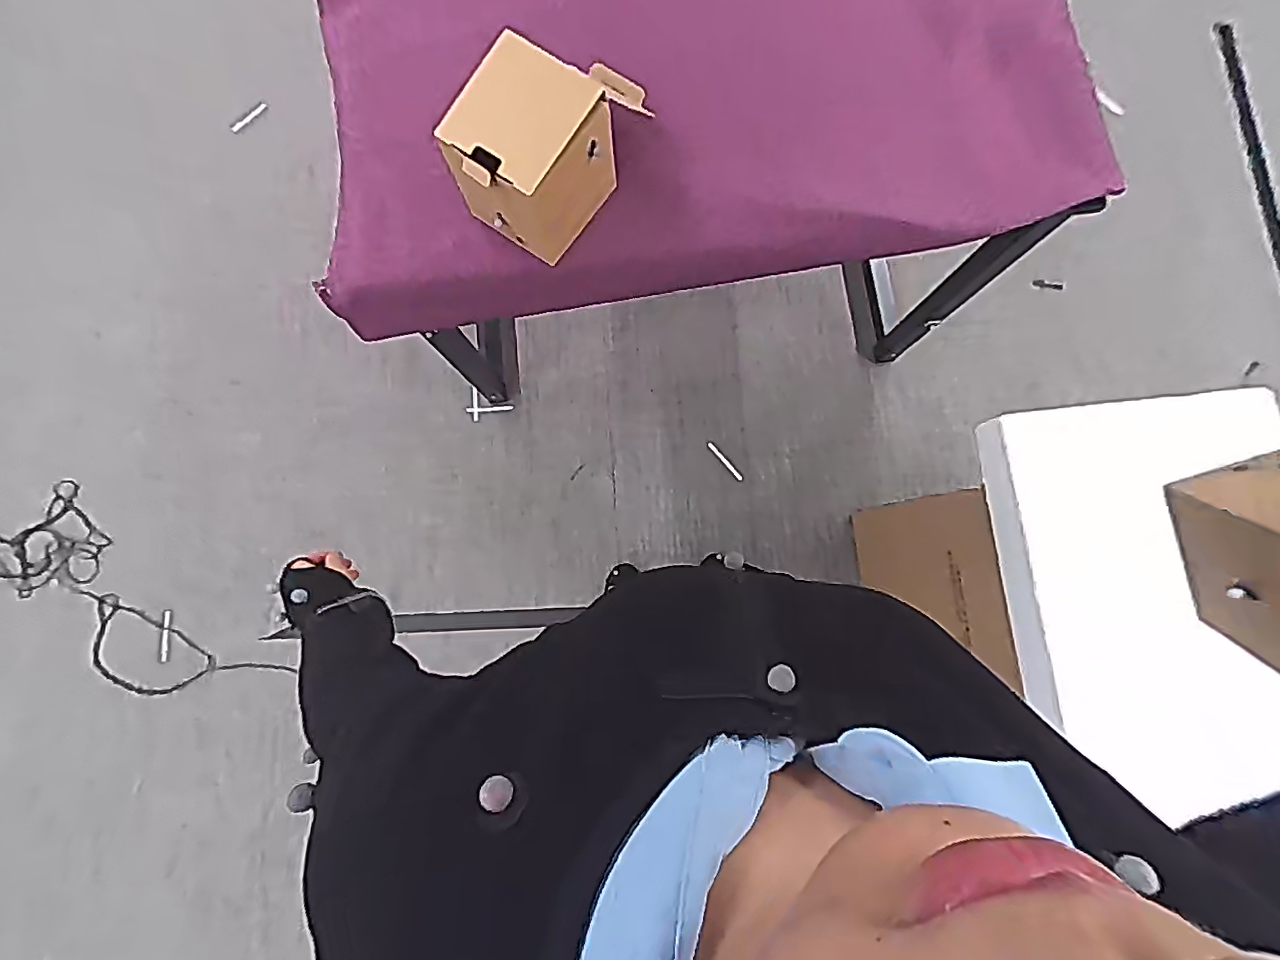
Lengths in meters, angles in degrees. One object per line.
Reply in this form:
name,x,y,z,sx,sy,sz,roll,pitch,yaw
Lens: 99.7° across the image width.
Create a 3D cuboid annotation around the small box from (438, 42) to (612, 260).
small box,-0.154,-0.469,0.794,0.168,0.176,0.179,35,83,7
